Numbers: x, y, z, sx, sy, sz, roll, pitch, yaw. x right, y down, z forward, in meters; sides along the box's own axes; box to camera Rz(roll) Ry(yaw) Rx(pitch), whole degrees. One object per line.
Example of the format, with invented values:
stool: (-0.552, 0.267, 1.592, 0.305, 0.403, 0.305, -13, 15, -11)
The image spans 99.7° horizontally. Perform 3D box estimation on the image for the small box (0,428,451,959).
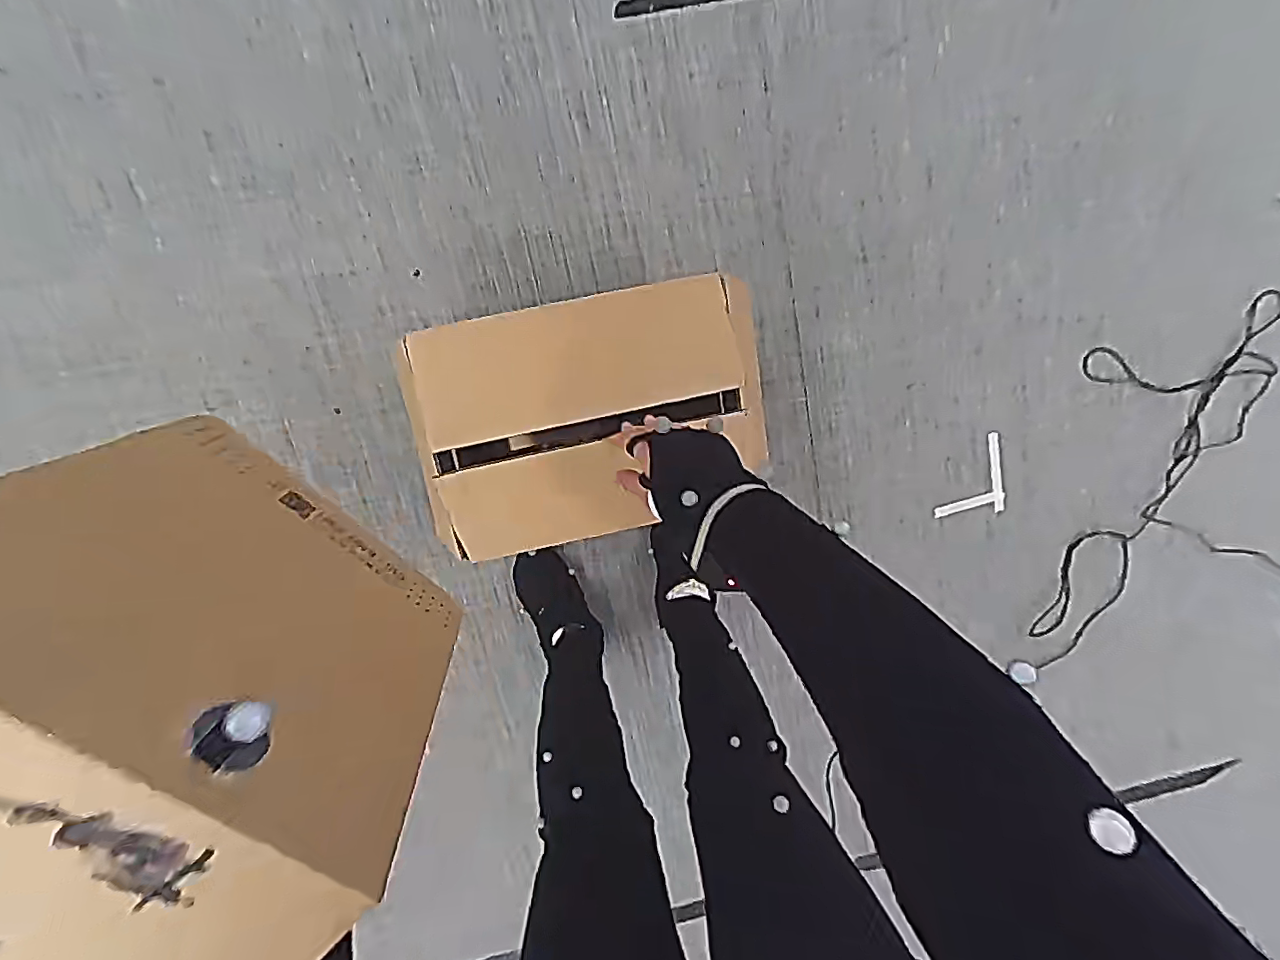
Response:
small box: (-0.206, 0.105, 0.229, 0.179, 0.176, 0.168, -42, 110, 7)
